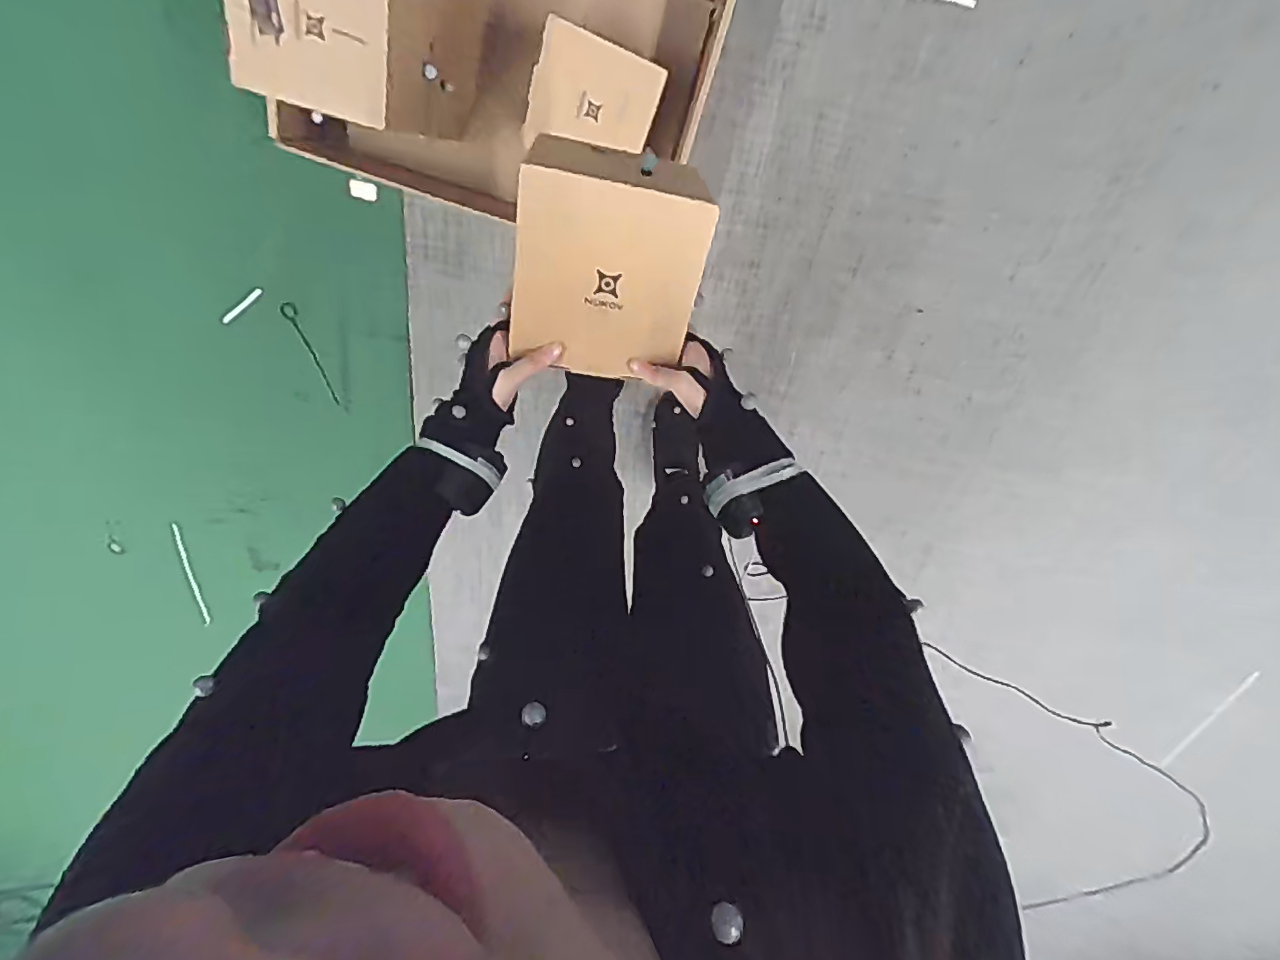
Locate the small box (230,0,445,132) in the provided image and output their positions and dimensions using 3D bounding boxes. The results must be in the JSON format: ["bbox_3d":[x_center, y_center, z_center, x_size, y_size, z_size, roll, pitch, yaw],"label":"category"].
[{"bbox_3d":[-0.359,-0.543,0.661,0.179,0.176,0.168,13,120,-8],"label":"small box"}]

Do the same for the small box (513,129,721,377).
[{"bbox_3d":[-0.033,-0.233,0.551,0.168,0.176,0.179,7,131,-10],"label":"small box"}]
